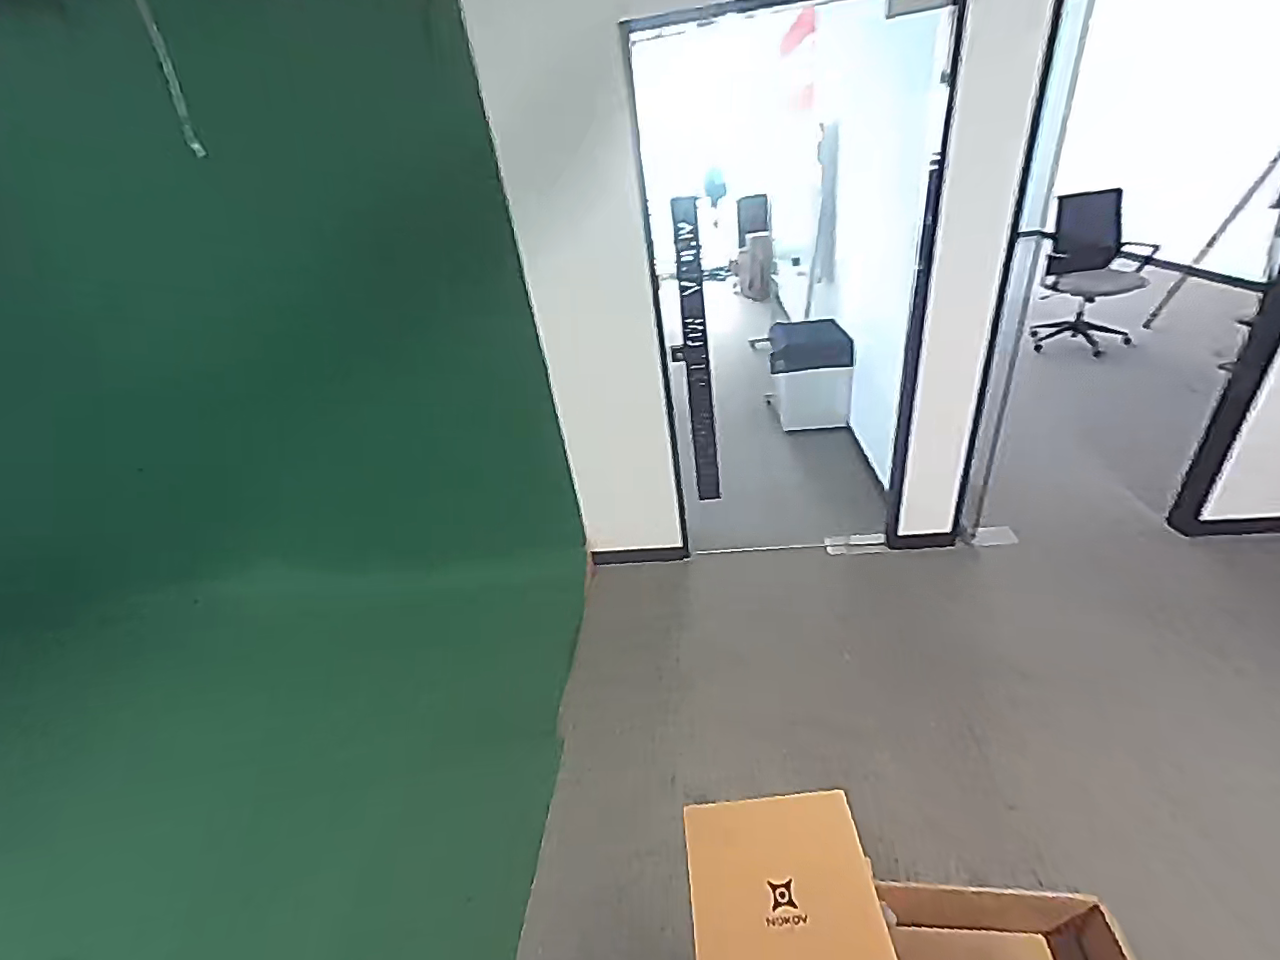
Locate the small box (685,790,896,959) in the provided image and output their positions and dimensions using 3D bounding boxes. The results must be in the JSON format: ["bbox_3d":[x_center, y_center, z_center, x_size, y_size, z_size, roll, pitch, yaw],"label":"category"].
[{"bbox_3d":[0.136,0.437,0.527,0.168,0.176,0.179,-7,37,3],"label":"small box"}]
